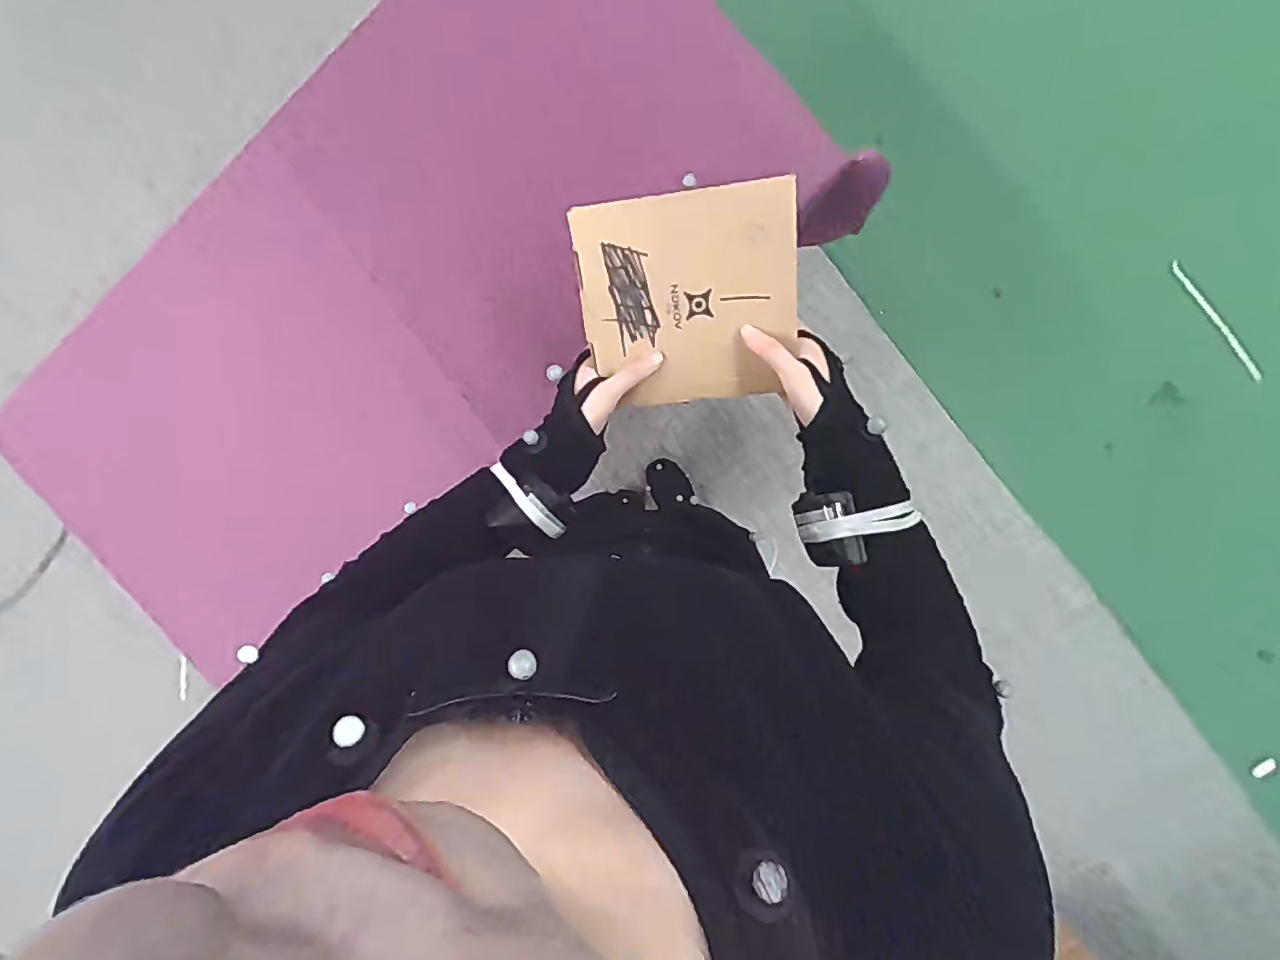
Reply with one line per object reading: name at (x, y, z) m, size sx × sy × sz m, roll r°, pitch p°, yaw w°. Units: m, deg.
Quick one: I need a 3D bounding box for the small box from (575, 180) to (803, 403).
small box at (0.050, -0.179, 0.514) m, size 0.179 × 0.176 × 0.168 m, roll -3°, pitch 116°, yaw 7°
